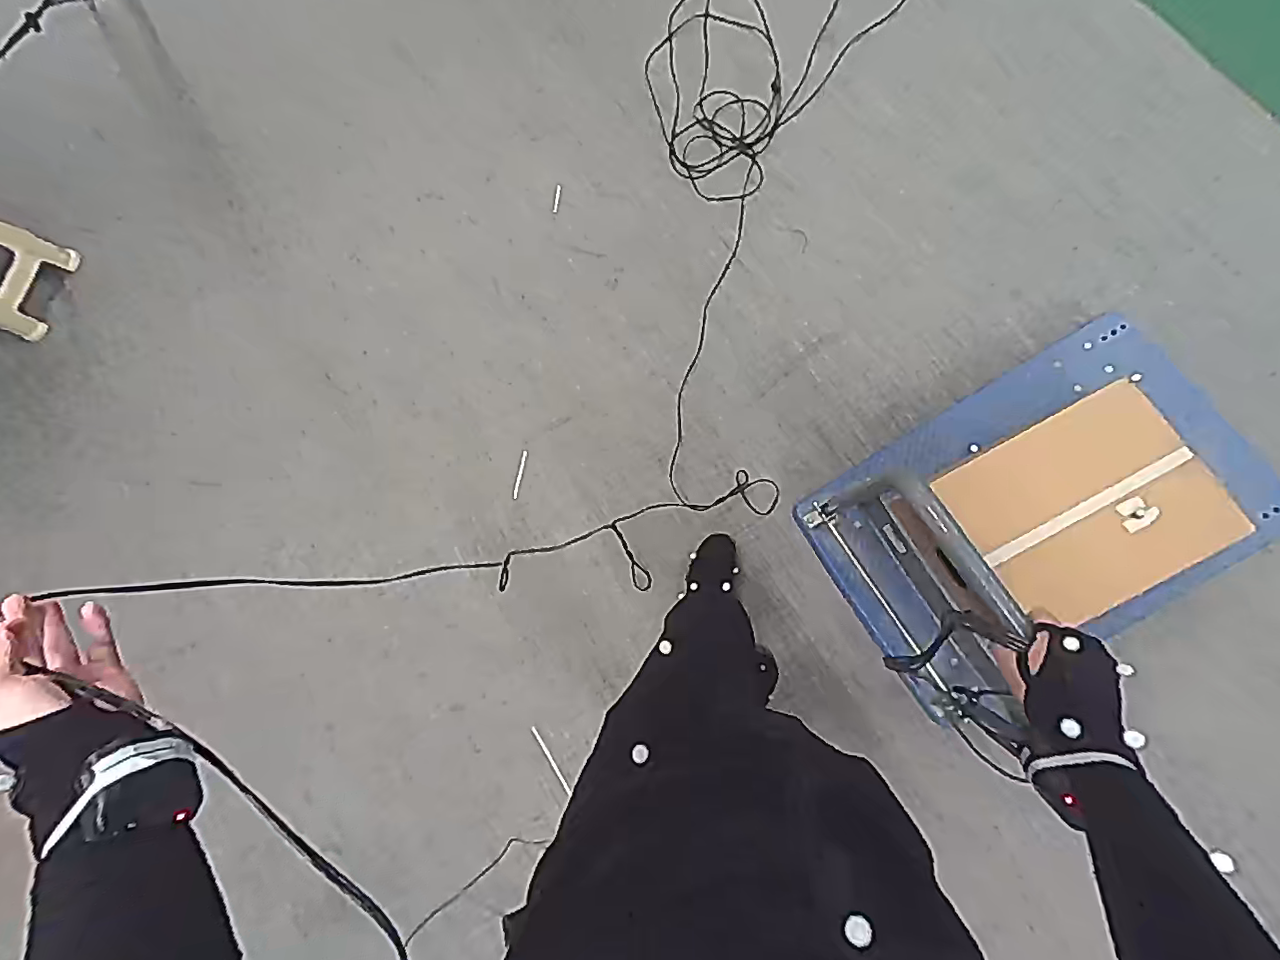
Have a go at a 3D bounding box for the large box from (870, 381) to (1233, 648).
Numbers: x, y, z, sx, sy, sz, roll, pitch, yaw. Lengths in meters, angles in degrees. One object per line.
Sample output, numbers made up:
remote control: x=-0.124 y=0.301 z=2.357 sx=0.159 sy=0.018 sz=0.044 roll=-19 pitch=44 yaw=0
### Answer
large box: x=0.746 y=0.080 z=1.064 sx=0.408 sy=0.320 sz=0.320 roll=-29 pitch=78 yaw=3
